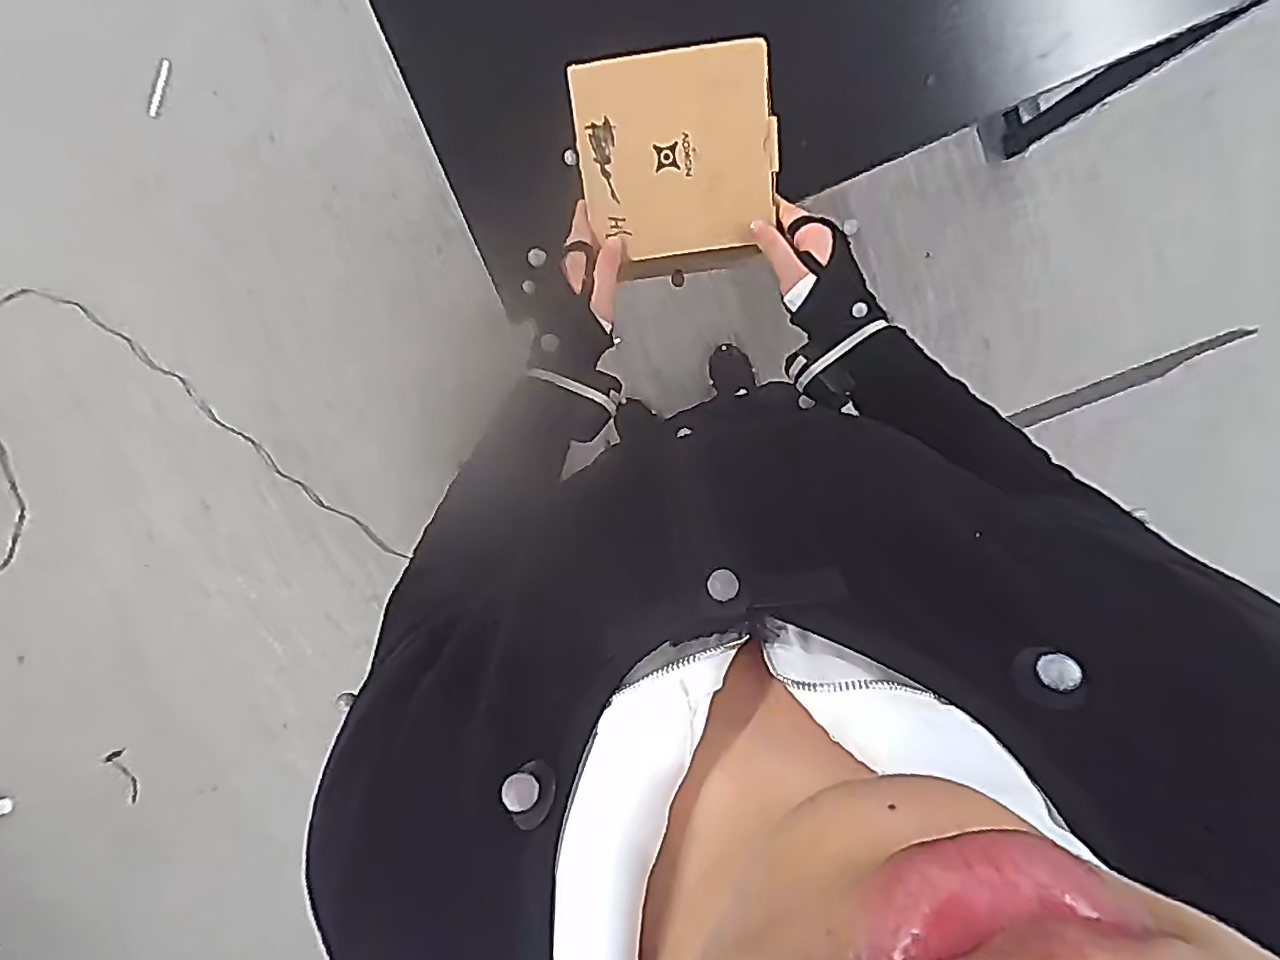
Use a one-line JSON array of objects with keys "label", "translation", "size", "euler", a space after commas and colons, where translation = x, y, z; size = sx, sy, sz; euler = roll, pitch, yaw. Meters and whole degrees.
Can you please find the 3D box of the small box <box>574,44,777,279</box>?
[{"label": "small box", "translation": [0.032, -0.311, 0.564], "size": [0.179, 0.176, 0.168], "euler": [-6, 104, 0]}]
